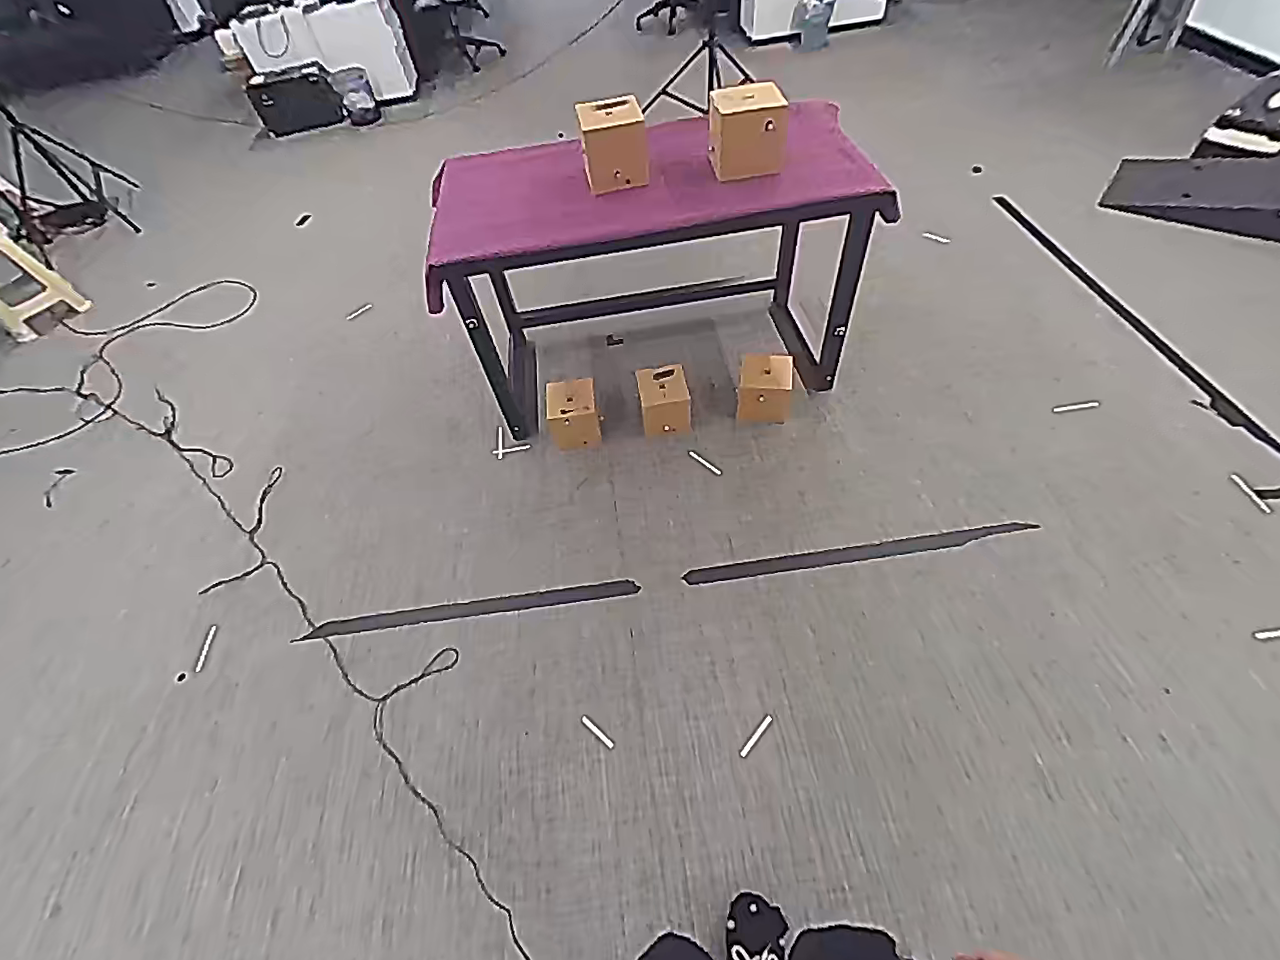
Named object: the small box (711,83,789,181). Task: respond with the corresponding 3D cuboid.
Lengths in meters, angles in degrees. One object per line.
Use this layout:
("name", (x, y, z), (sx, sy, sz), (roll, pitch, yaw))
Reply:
("small box", (0.291, -0.941, 1.469), (0.179, 0.176, 0.168), (-8, 52, 2))

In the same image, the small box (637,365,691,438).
("small box", (0.086, -0.276, 1.915), (0.168, 0.176, 0.179), (-10, 54, 0))

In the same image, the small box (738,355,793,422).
("small box", (0.441, -0.319, 1.905), (0.179, 0.176, 0.168), (4, 55, 11))

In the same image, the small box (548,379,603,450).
("small box", (-0.227, -0.232, 1.921), (0.168, 0.176, 0.179), (-8, 52, 1))
